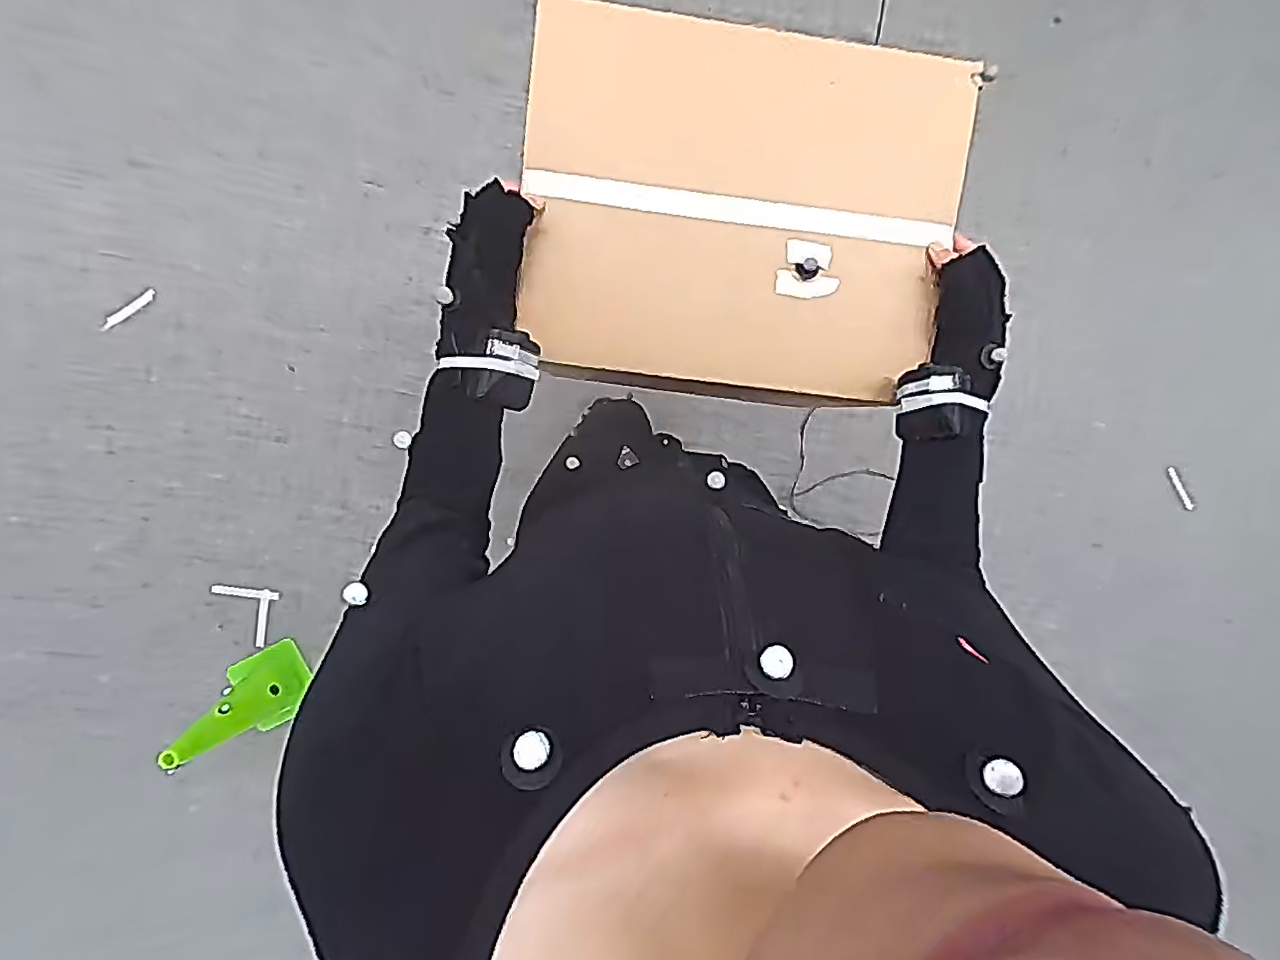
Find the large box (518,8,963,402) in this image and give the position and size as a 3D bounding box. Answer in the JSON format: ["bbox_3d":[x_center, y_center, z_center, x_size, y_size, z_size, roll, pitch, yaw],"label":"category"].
[{"bbox_3d":[0.084,-0.270,0.656,0.408,0.320,0.320,6,97,-4],"label":"large box"}]

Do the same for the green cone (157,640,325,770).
[{"bbox_3d":[-0.978,0.564,1.294,0.202,0.368,0.200,-28,93,1],"label":"green cone"}]
